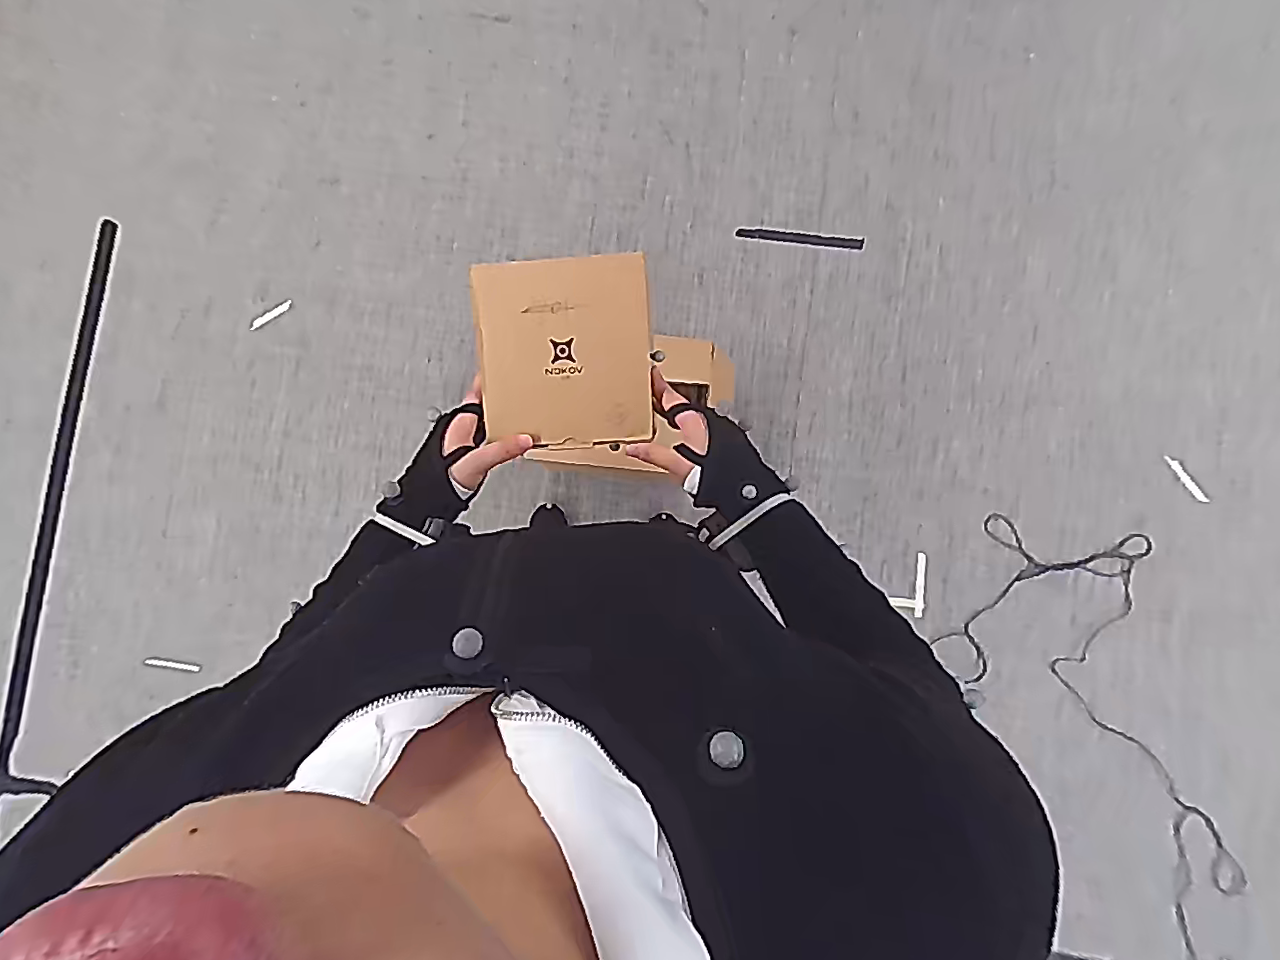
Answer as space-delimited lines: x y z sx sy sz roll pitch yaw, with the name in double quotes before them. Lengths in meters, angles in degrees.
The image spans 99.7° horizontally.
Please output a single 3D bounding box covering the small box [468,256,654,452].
"small box" -0.070 -0.129 0.584 0.168 0.176 0.179 -2 100 2
